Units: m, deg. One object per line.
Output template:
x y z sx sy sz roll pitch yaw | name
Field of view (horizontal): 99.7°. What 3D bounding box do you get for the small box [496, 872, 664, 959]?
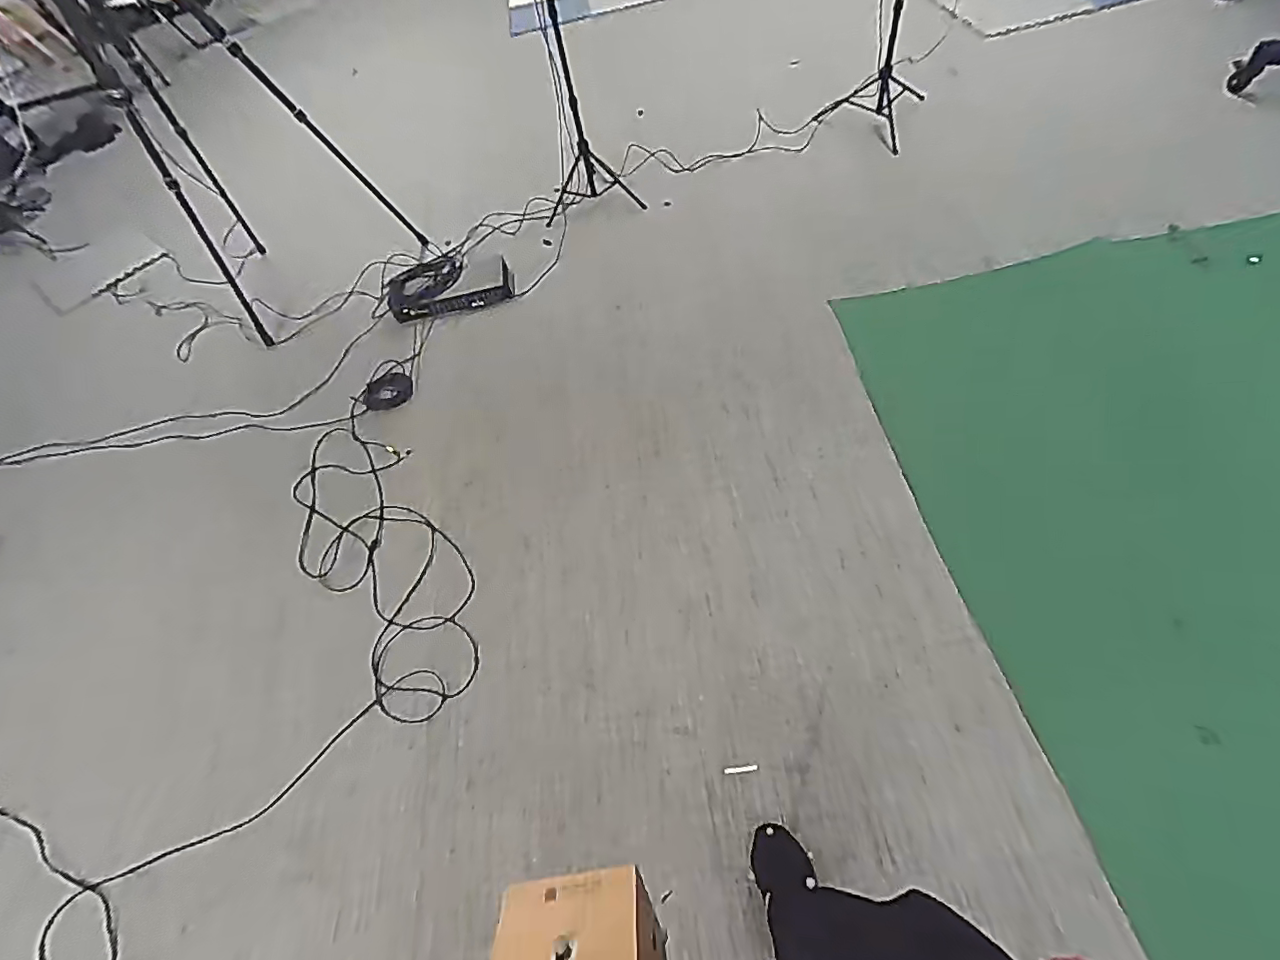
-0.064 0.579 0.616 0.168 0.179 0.176 -12 27 4 | small box
